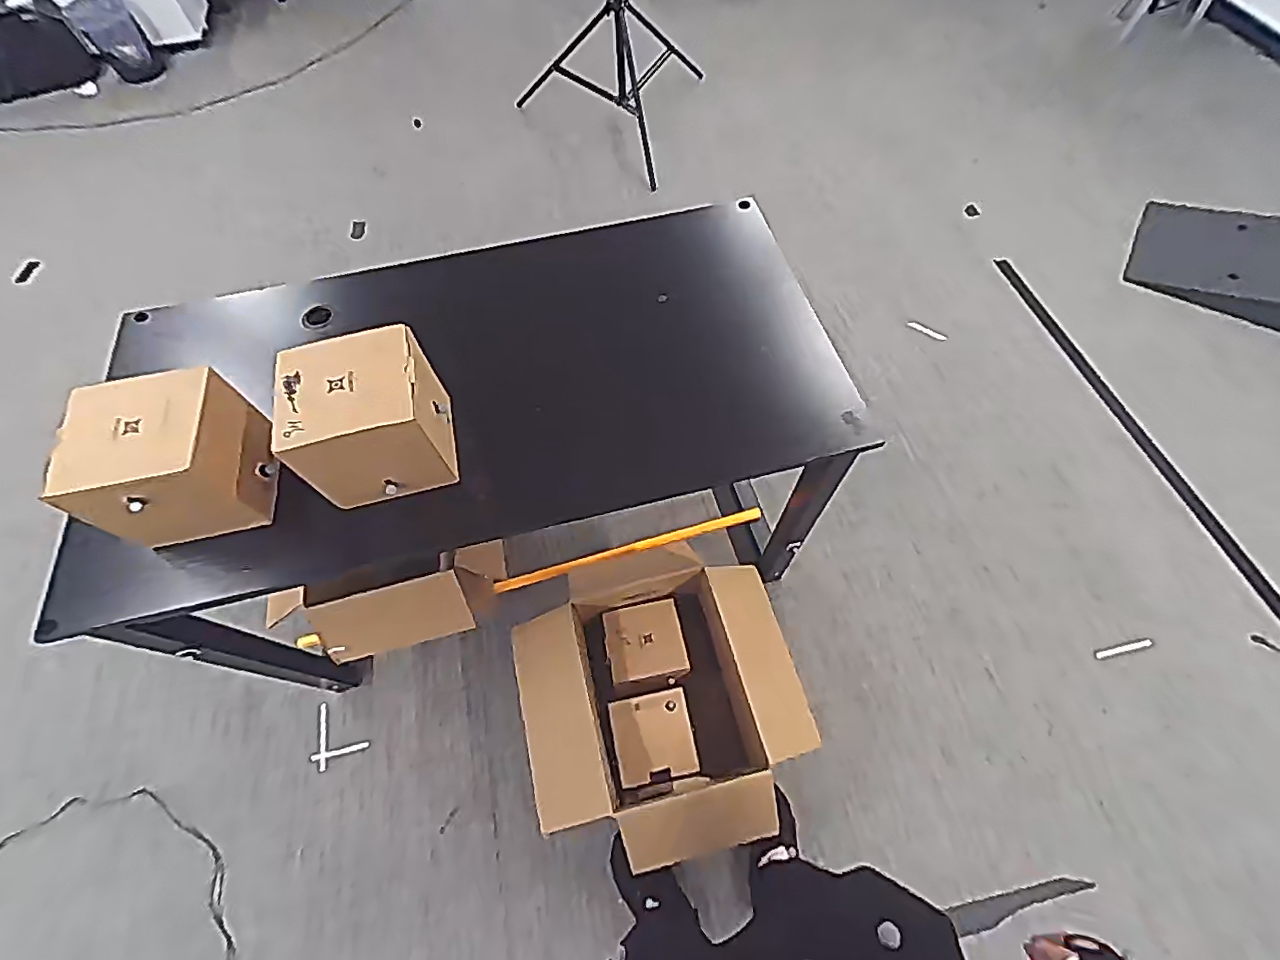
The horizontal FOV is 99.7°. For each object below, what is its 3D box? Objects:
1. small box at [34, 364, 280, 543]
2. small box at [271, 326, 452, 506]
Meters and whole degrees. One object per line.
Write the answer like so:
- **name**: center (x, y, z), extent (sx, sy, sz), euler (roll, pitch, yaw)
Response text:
- **small box**: center (-0.632, -0.028, 0.737), extent (0.179, 0.176, 0.168), euler (-12, 63, -6)
- **small box**: center (-0.375, -0.084, 0.759), extent (0.179, 0.176, 0.168), euler (-14, 62, -6)
